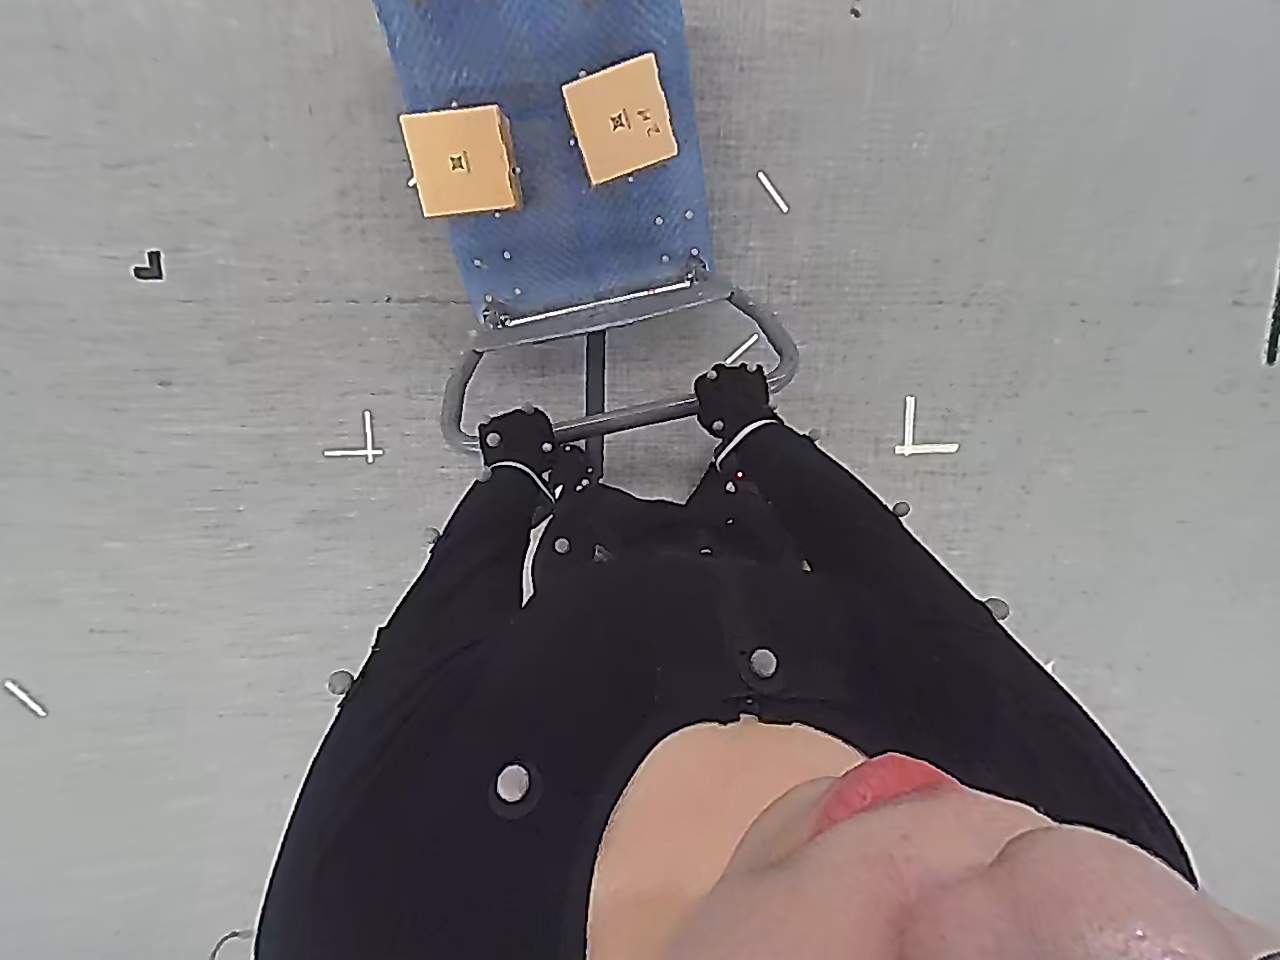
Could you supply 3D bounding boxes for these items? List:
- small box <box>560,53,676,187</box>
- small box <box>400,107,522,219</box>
[{"bbox_3d":[-0.043,-0.692,1.063,0.179,0.176,0.168,-19,116,4],"label":"small box"},{"bbox_3d":[-0.342,-0.617,1.070,0.179,0.176,0.168,-9,116,-3],"label":"small box"}]
